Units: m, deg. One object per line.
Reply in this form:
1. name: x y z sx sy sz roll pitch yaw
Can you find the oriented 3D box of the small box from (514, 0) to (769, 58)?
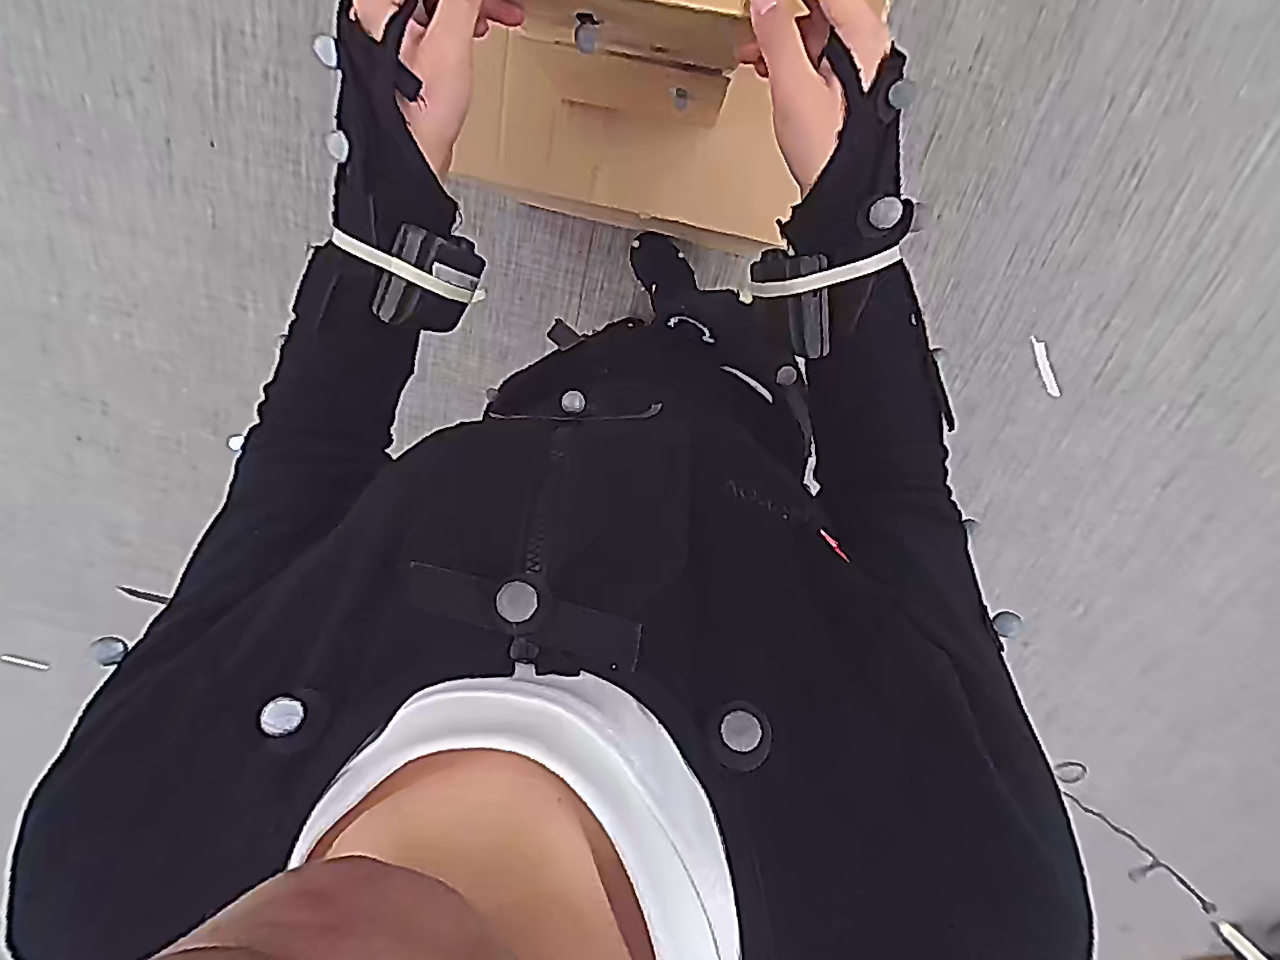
1. small box: 0.003 -0.357 0.291 0.168 0.176 0.179 9 119 -2
